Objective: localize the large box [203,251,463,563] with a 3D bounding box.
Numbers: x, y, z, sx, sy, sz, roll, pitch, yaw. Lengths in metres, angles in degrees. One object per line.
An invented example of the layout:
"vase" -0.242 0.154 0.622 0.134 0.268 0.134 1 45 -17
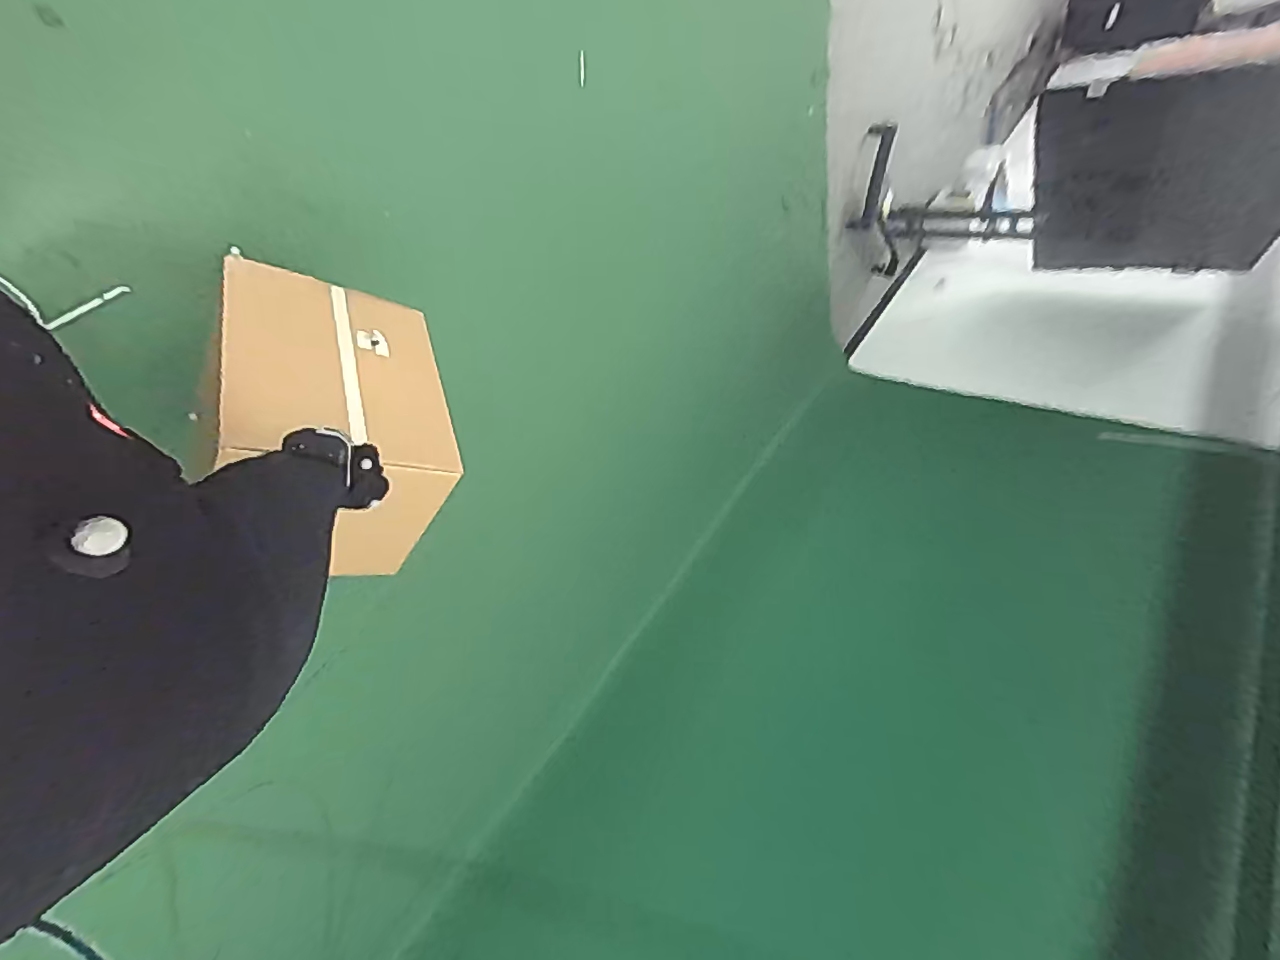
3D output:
"large box" -0.554 -0.107 0.946 0.320 0.408 0.320 7 138 -44
